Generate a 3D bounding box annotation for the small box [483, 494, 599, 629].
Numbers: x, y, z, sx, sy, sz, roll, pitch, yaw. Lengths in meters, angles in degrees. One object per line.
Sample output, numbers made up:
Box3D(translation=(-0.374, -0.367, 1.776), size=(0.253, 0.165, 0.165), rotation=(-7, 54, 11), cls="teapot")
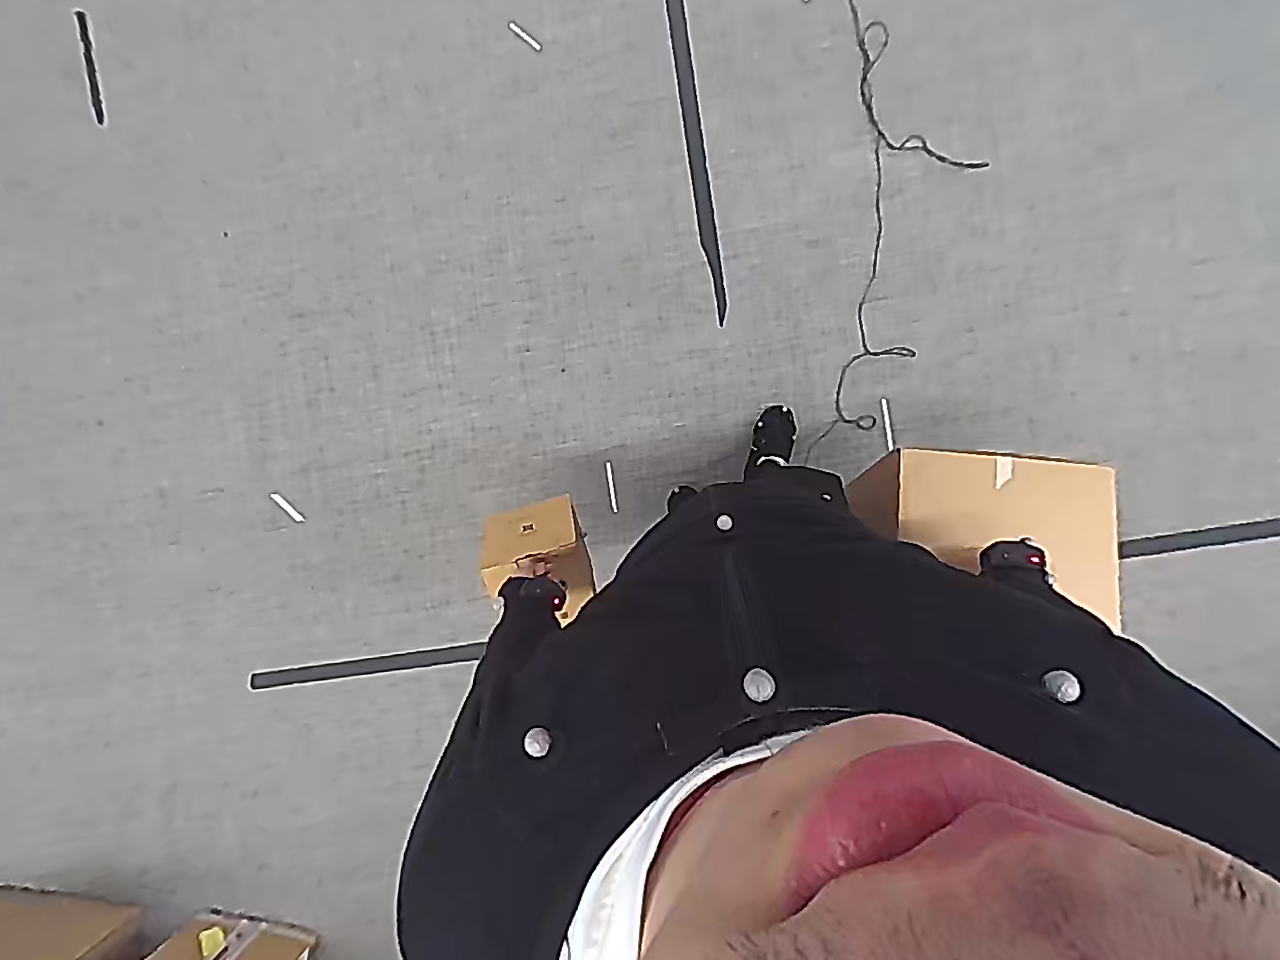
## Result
Box3D(translation=(-0.181, 0.155, 1.008), size=(0.168, 0.179, 0.176), rotation=(-15, 118, -5), cls="small box")
